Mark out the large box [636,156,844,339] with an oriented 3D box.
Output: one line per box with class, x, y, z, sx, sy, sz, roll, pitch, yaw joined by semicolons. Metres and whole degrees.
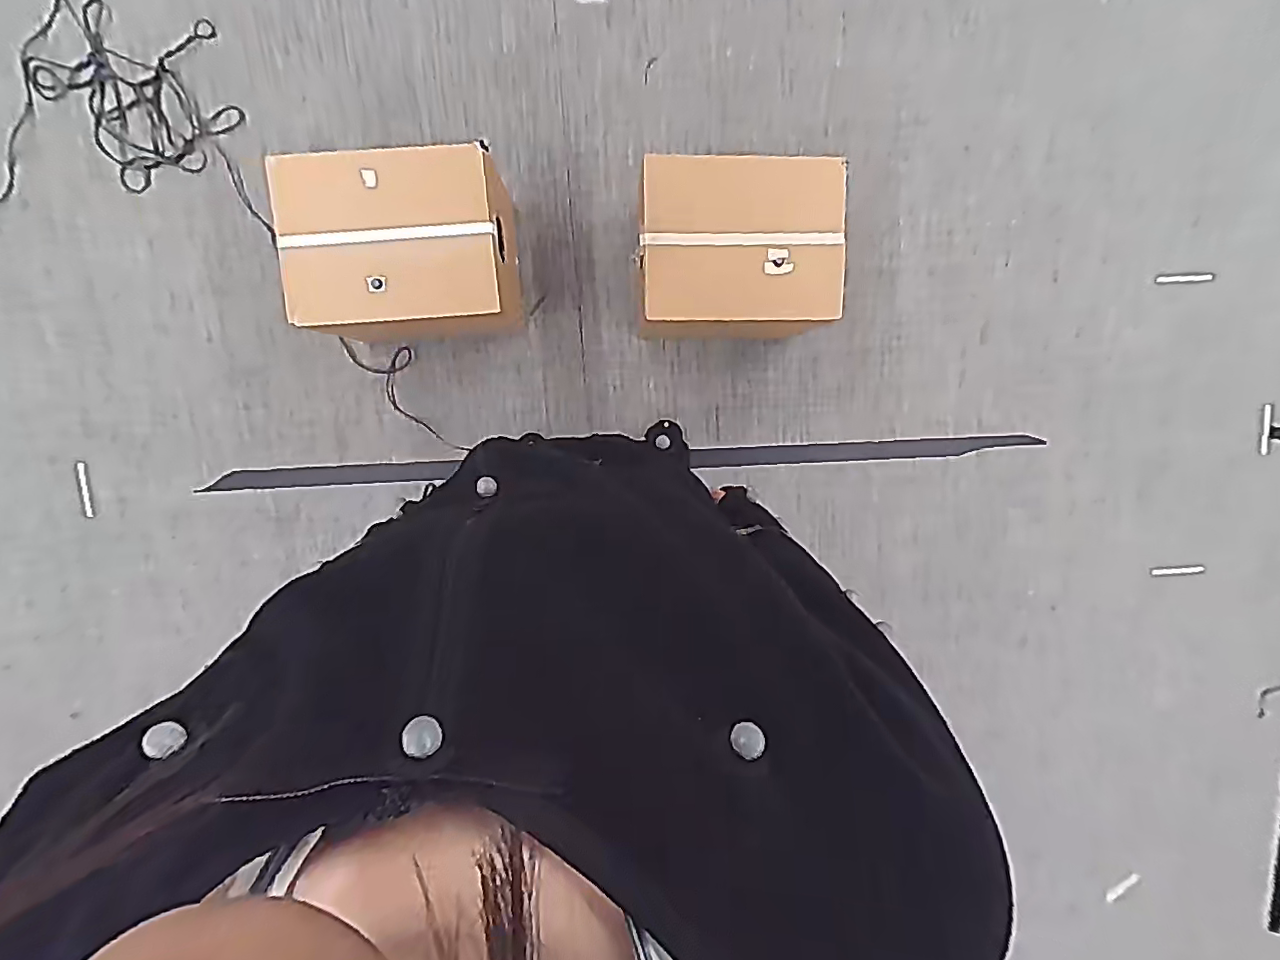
large box;0.201;-0.500;1.228;0.408;0.320;0.320;-1;98;-4
